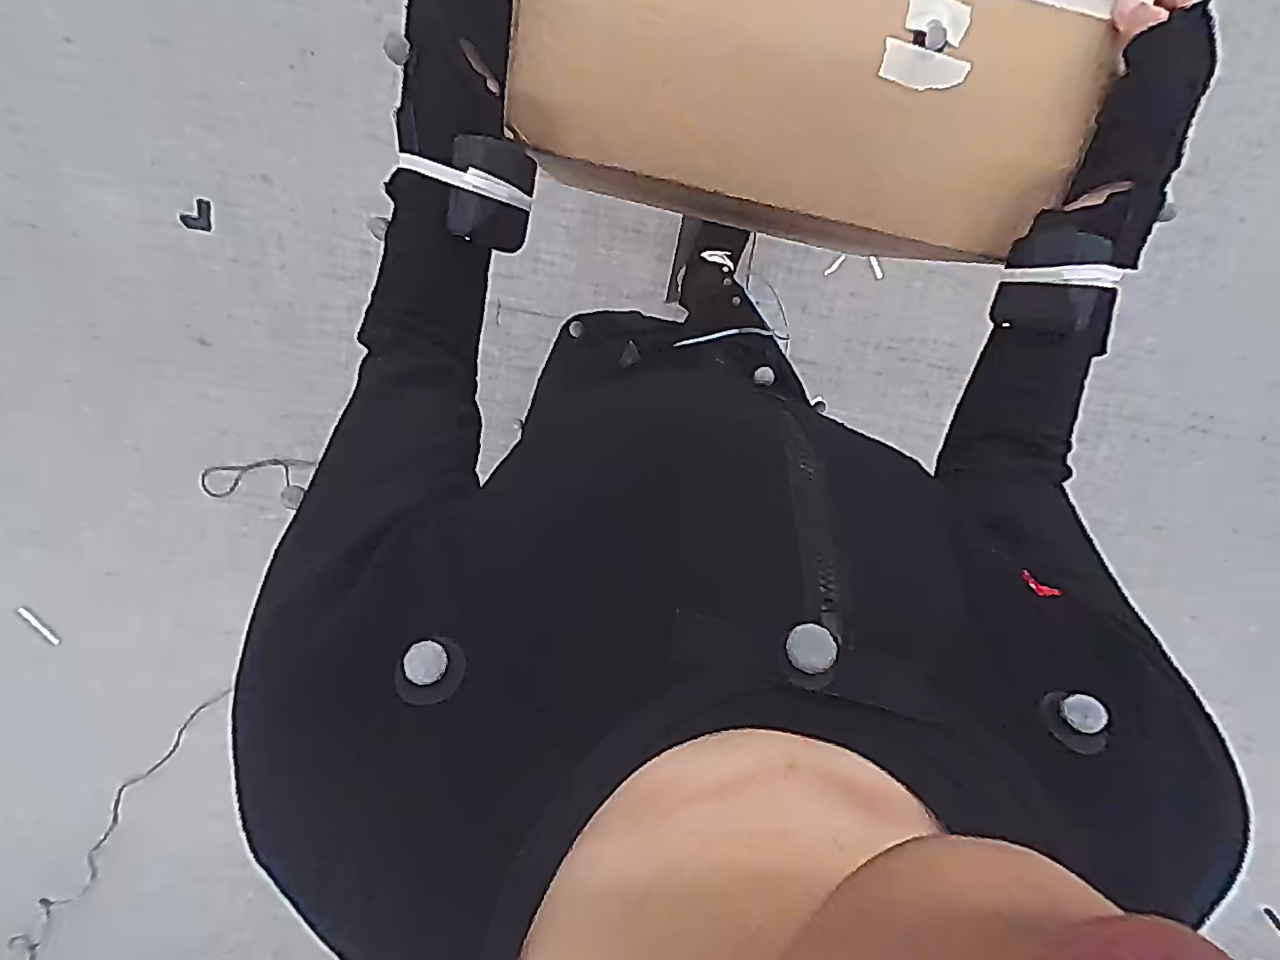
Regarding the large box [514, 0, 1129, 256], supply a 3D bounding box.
[{"bbox_3d":[0.123,-0.403,0.481,0.408,0.320,0.320,10,114,-7],"label":"large box"}]
